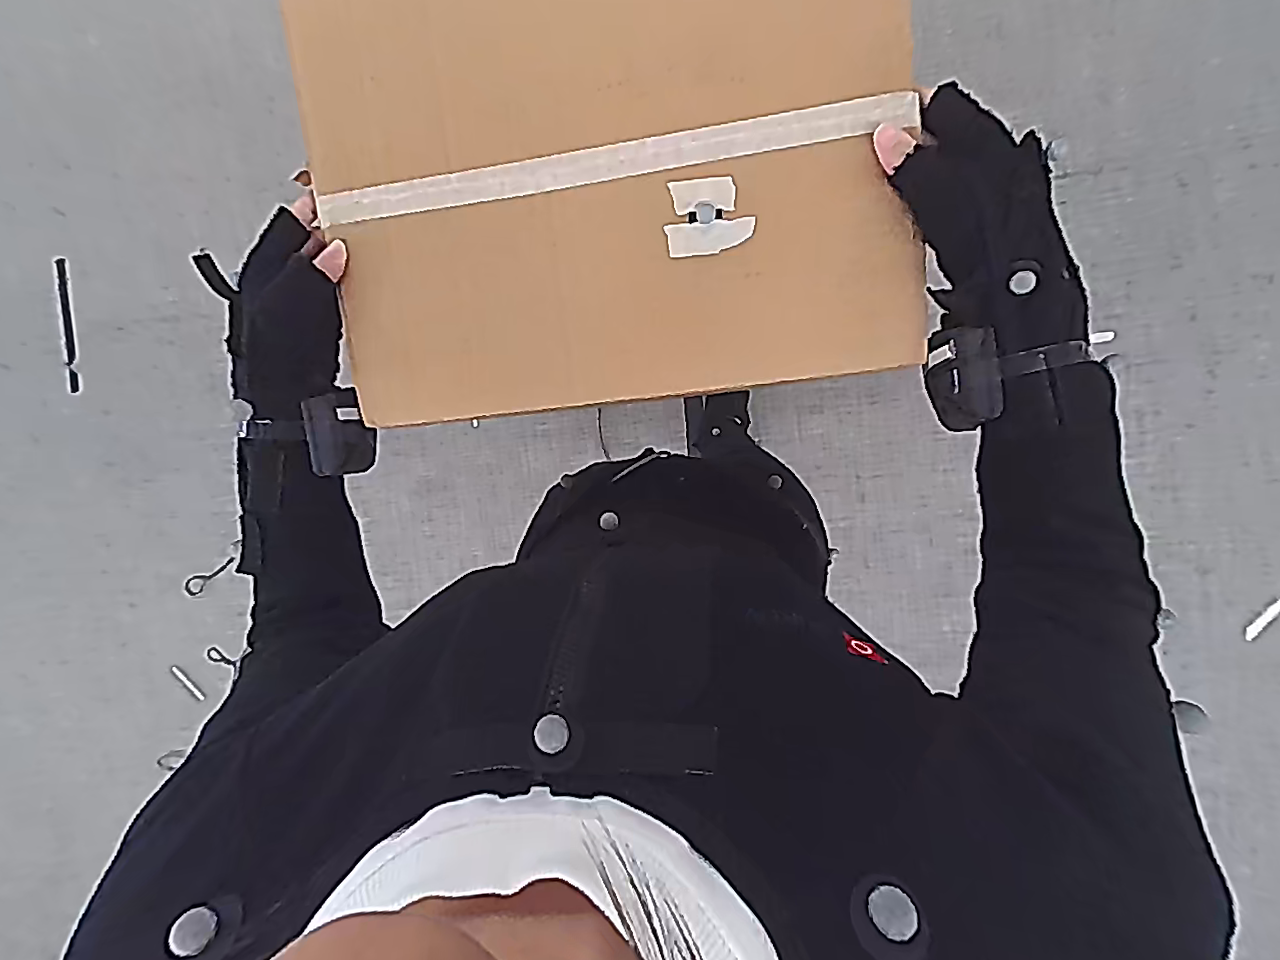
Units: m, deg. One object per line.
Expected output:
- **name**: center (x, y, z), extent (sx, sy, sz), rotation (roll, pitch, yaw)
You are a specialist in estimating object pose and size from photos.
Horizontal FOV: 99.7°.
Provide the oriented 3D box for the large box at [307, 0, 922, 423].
- **large box**: center (-0.008, -0.240, 0.522), extent (0.408, 0.320, 0.320), rotation (-7, 99, 6)
